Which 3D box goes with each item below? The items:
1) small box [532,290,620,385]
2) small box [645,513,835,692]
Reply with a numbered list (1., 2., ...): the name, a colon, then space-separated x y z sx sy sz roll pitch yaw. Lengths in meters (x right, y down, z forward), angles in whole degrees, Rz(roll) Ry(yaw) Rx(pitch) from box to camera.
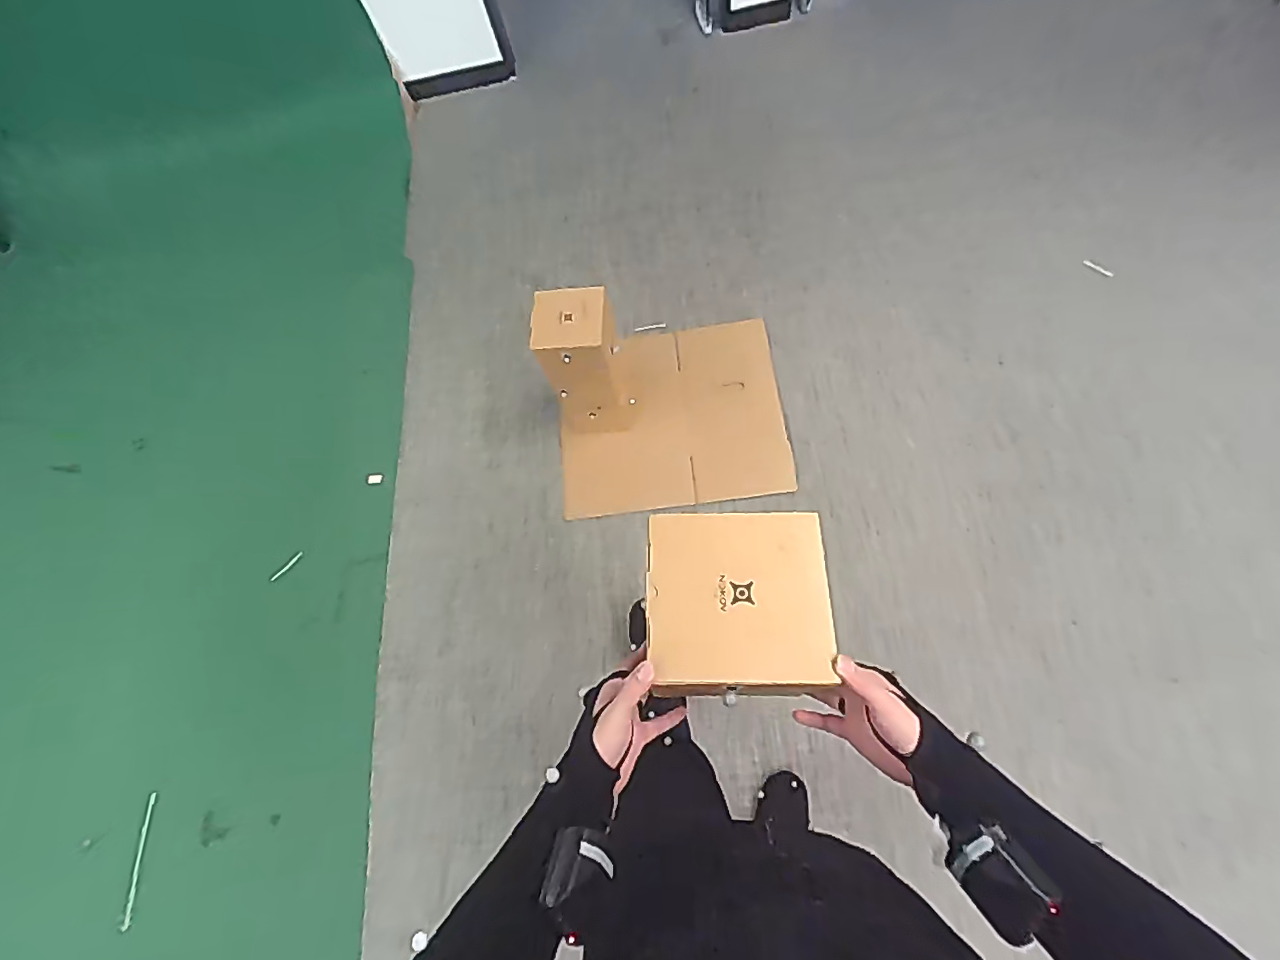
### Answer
1. small box: -0.154 -0.350 1.352 0.179 0.176 0.168 -1 71 8
2. small box: 0.098 0.141 0.599 0.179 0.176 0.168 -2 65 5
